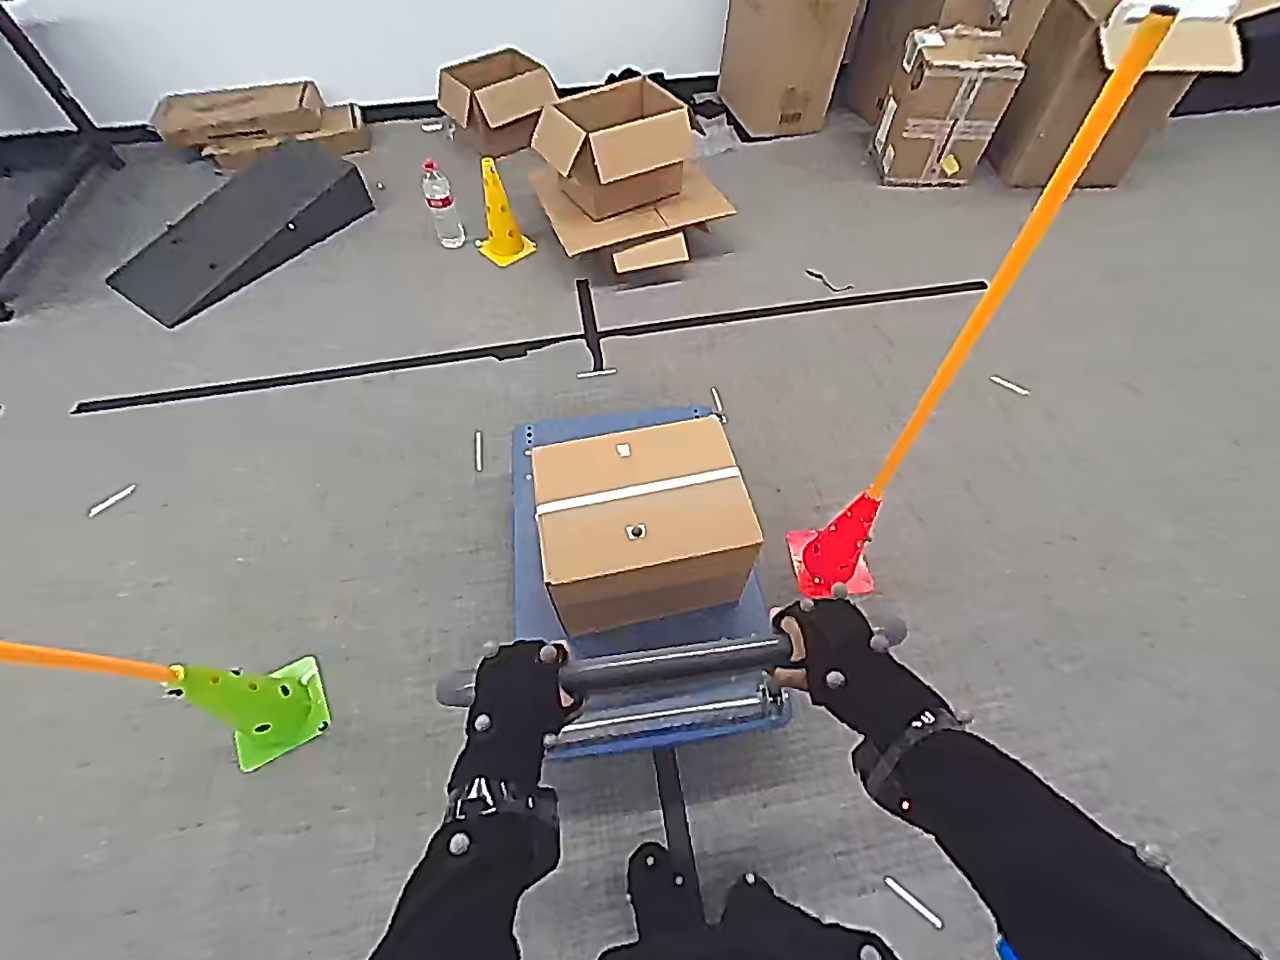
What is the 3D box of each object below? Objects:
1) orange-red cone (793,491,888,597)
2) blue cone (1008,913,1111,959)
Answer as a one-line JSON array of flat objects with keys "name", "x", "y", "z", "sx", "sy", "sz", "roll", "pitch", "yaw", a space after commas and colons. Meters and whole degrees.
[{"name": "orange-red cone", "x": 0.533, "y": 0.134, "z": 1.346, "sx": 0.199, "sy": 0.360, "sz": 0.198, "roll": -3, "pitch": 57, "yaw": -3}, {"name": "blue cone", "x": 0.817, "y": 0.865, "z": 0.881, "sx": 0.193, "sy": 0.380, "sz": 0.192, "roll": -12, "pitch": 56, "yaw": -8}]
